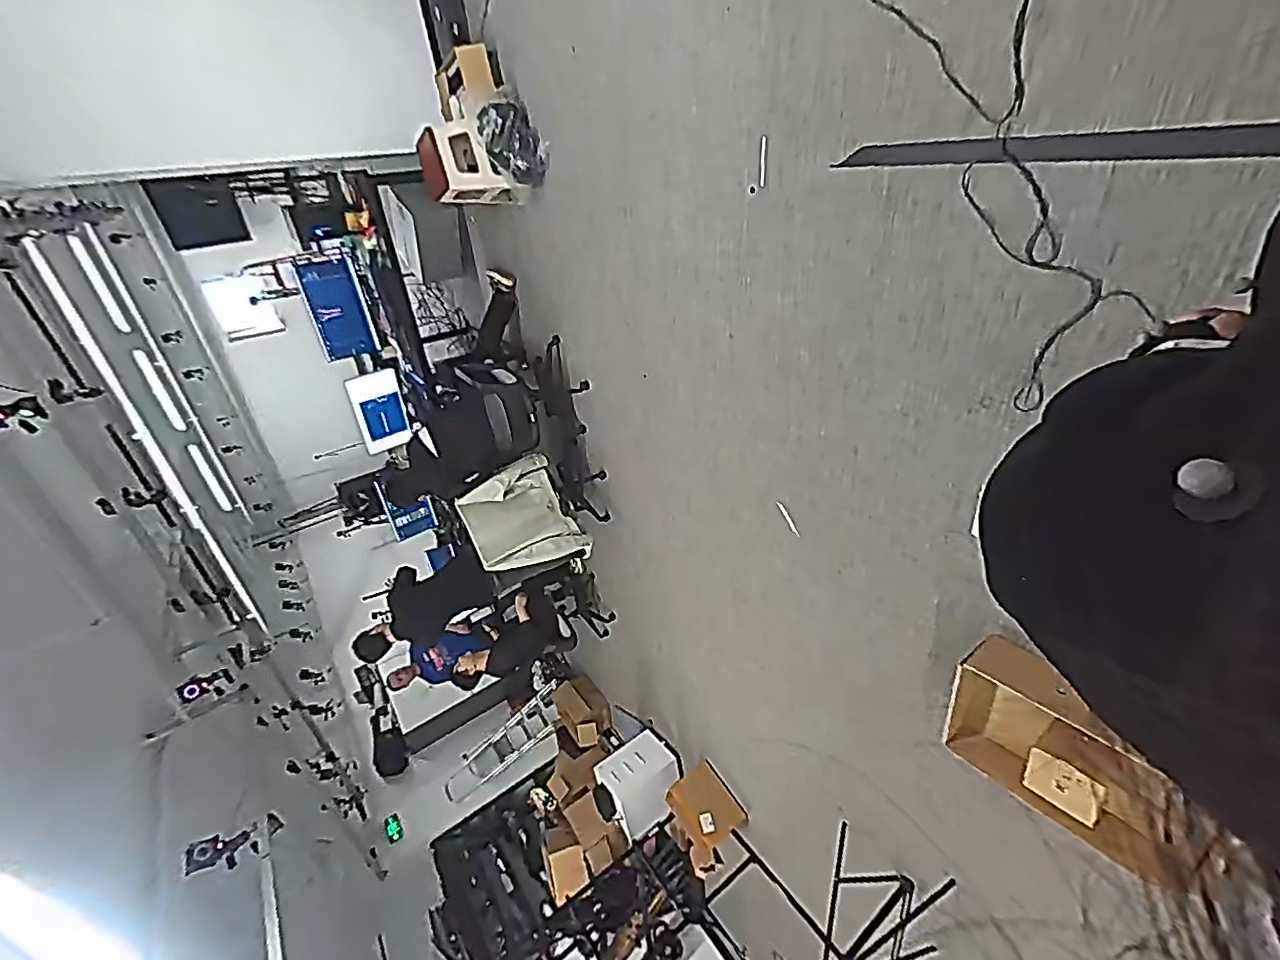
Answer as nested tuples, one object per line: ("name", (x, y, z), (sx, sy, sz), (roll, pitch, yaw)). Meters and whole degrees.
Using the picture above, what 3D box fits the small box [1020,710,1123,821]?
("small box", (1.198, 0.786, 1.502), (0.168, 0.176, 0.179), (26, 133, 49))
